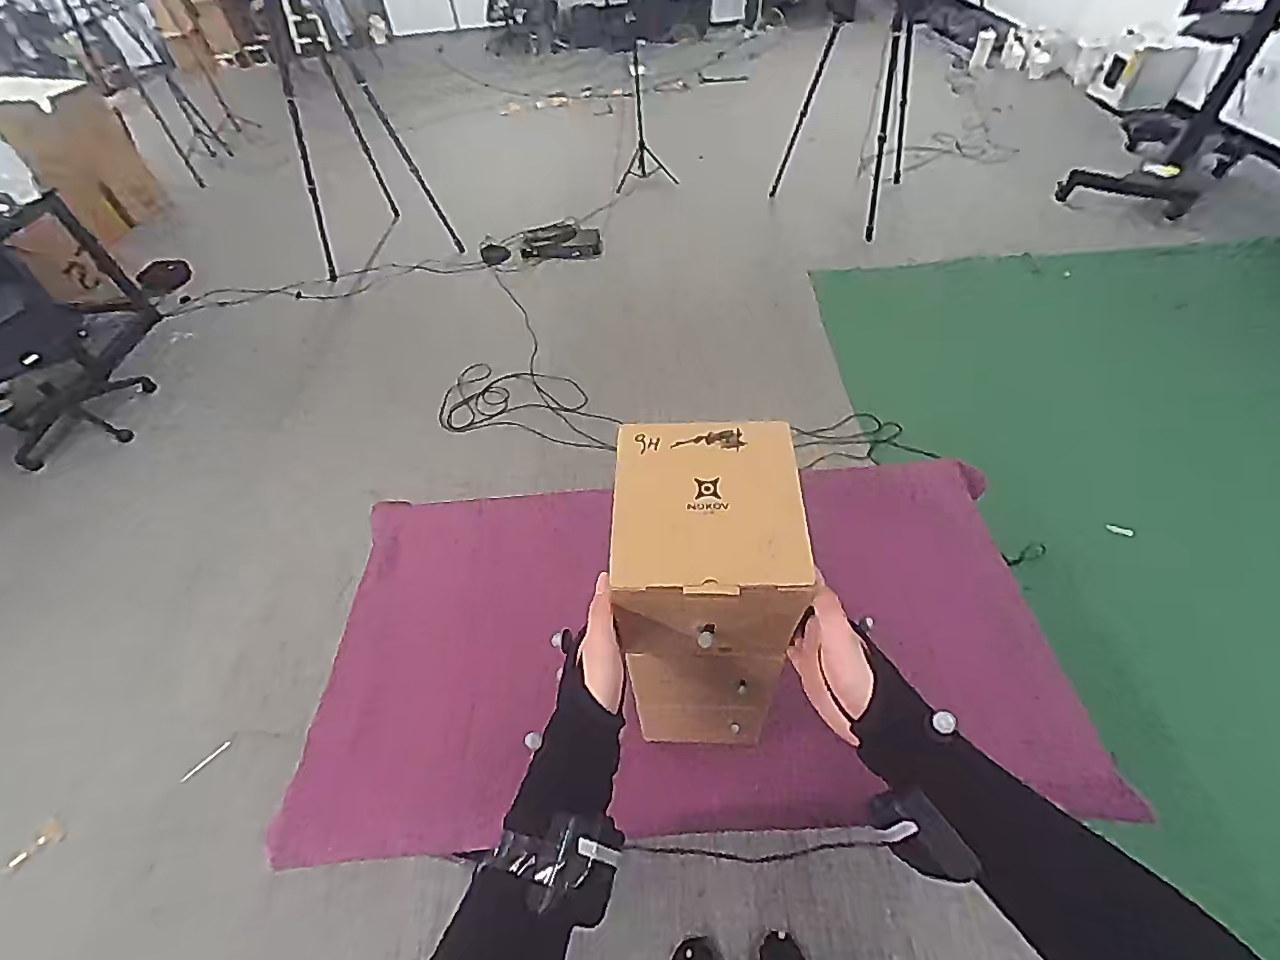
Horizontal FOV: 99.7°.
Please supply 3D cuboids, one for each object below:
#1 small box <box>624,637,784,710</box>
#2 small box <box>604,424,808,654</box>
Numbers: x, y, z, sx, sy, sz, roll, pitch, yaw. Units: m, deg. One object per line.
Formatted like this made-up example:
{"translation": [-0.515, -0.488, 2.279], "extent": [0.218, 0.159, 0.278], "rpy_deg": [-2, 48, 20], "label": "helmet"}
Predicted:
{"translation": [0.079, 0.186, 0.699], "extent": [0.179, 0.176, 0.168], "rpy_deg": [-1, 49, 5], "label": "small box"}
{"translation": [0.062, 0.065, 0.538], "extent": [0.168, 0.176, 0.179], "rpy_deg": [-1, 55, 5], "label": "small box"}
